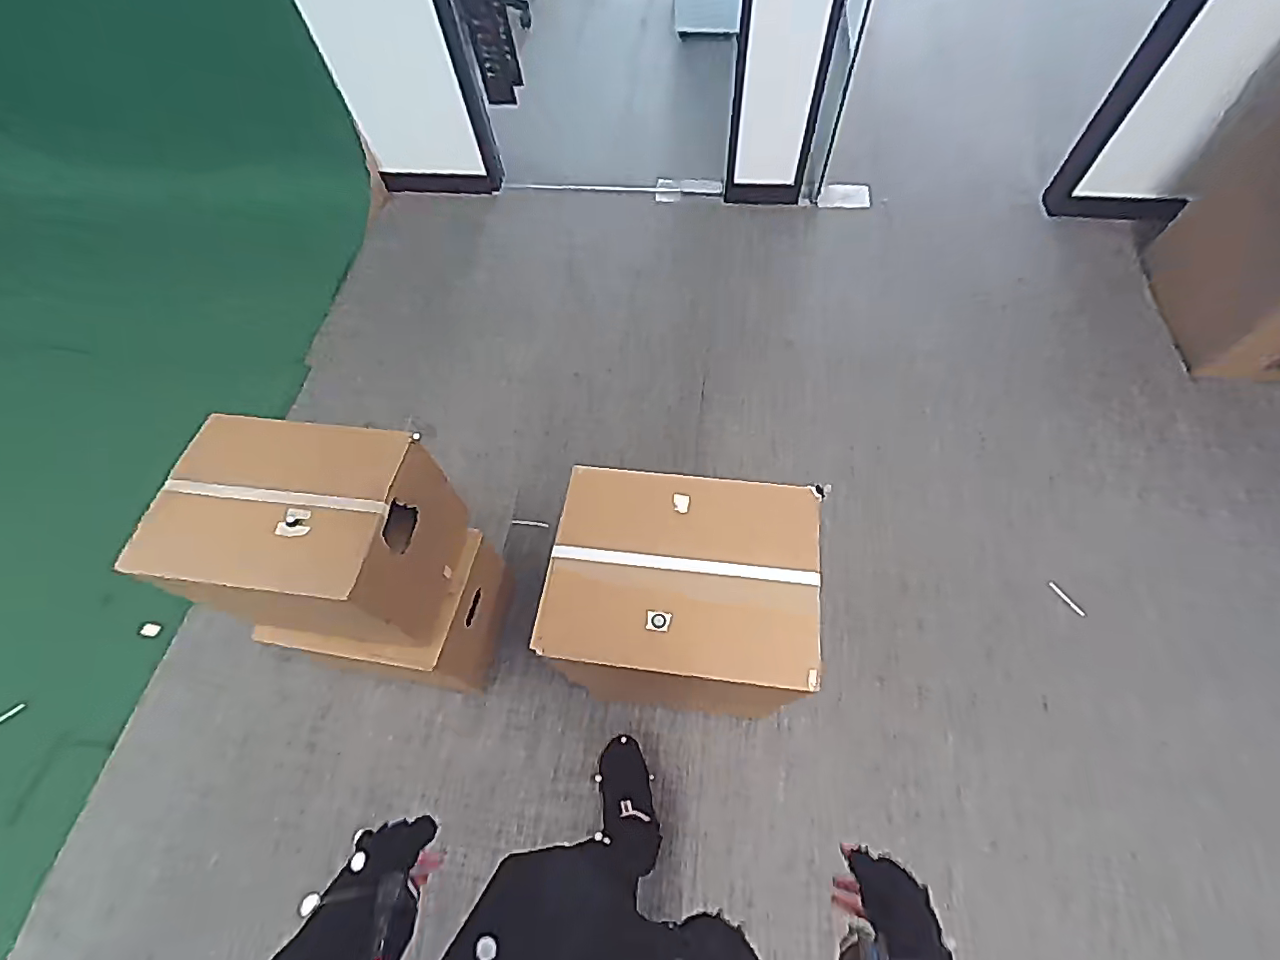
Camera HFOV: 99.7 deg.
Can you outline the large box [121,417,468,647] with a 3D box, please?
[{"bbox_3d":[-0.608,0.107,1.043,0.408,0.320,0.320,7,59,6],"label":"large box"}]
